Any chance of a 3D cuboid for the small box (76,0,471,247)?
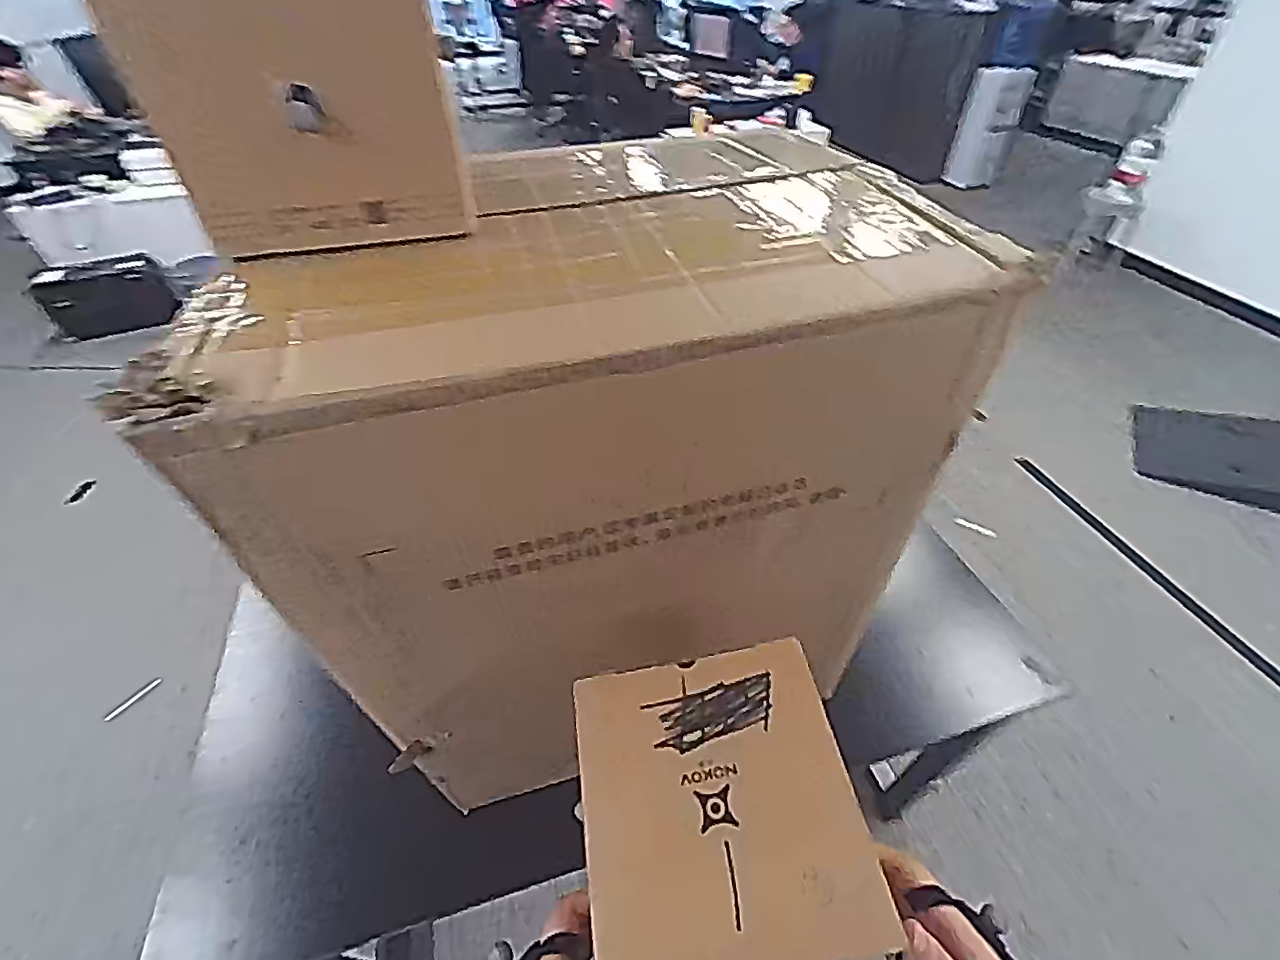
[{"bbox_3d":[-0.220,-0.272,0.372,0.168,0.176,0.179,-12,45,-11],"label":"small box"}]
